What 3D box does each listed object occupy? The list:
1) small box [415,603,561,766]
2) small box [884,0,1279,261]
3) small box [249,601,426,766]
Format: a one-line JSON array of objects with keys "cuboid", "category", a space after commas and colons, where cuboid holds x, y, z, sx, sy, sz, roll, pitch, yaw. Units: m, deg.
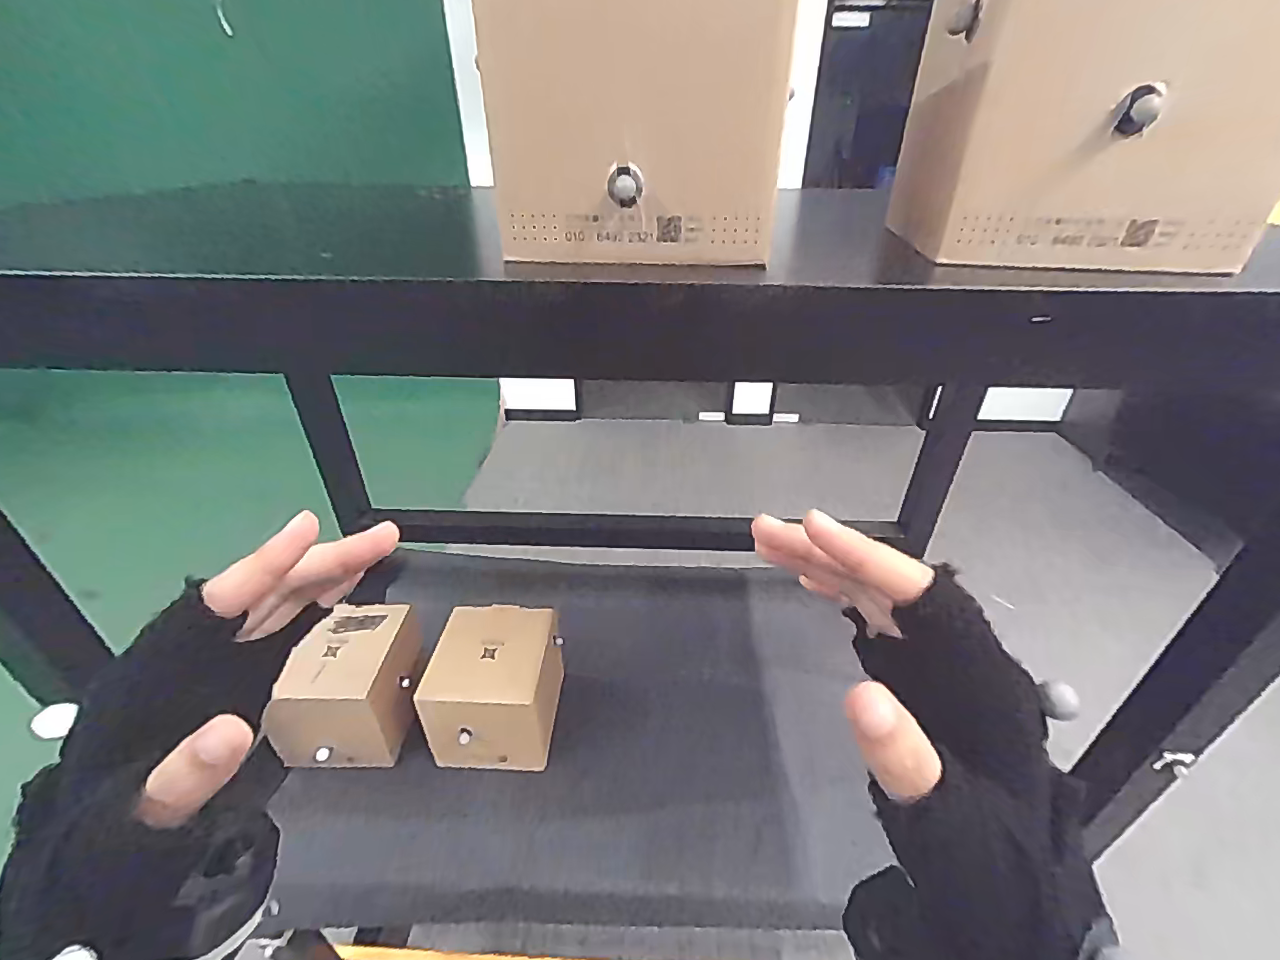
[{"cuboid": [-0.219, 0.314, 0.836, 0.168, 0.176, 0.179, 2, 32, 2], "category": "small box"}, {"cuboid": [0.276, -0.247, 0.353, 0.168, 0.176, 0.179, 6, 32, 9], "category": "small box"}, {"cuboid": [-0.446, 0.309, 0.837, 0.168, 0.176, 0.179, 0, 32, 0], "category": "small box"}]
